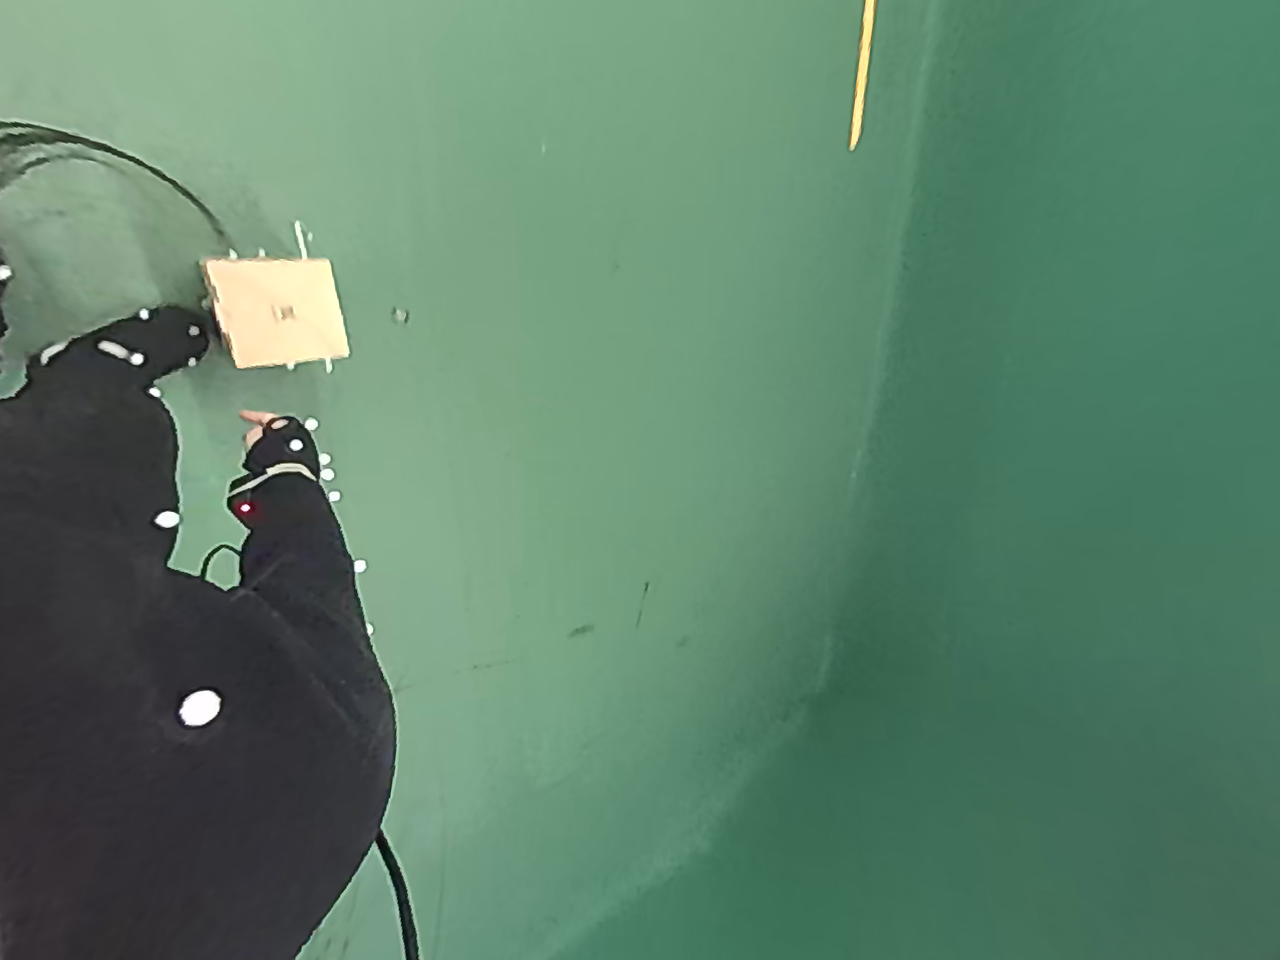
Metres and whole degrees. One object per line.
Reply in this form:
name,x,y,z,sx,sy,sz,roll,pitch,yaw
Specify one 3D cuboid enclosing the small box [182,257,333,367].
small box,-0.675,-0.304,0.957,0.179,0.176,0.168,-18,119,-37
